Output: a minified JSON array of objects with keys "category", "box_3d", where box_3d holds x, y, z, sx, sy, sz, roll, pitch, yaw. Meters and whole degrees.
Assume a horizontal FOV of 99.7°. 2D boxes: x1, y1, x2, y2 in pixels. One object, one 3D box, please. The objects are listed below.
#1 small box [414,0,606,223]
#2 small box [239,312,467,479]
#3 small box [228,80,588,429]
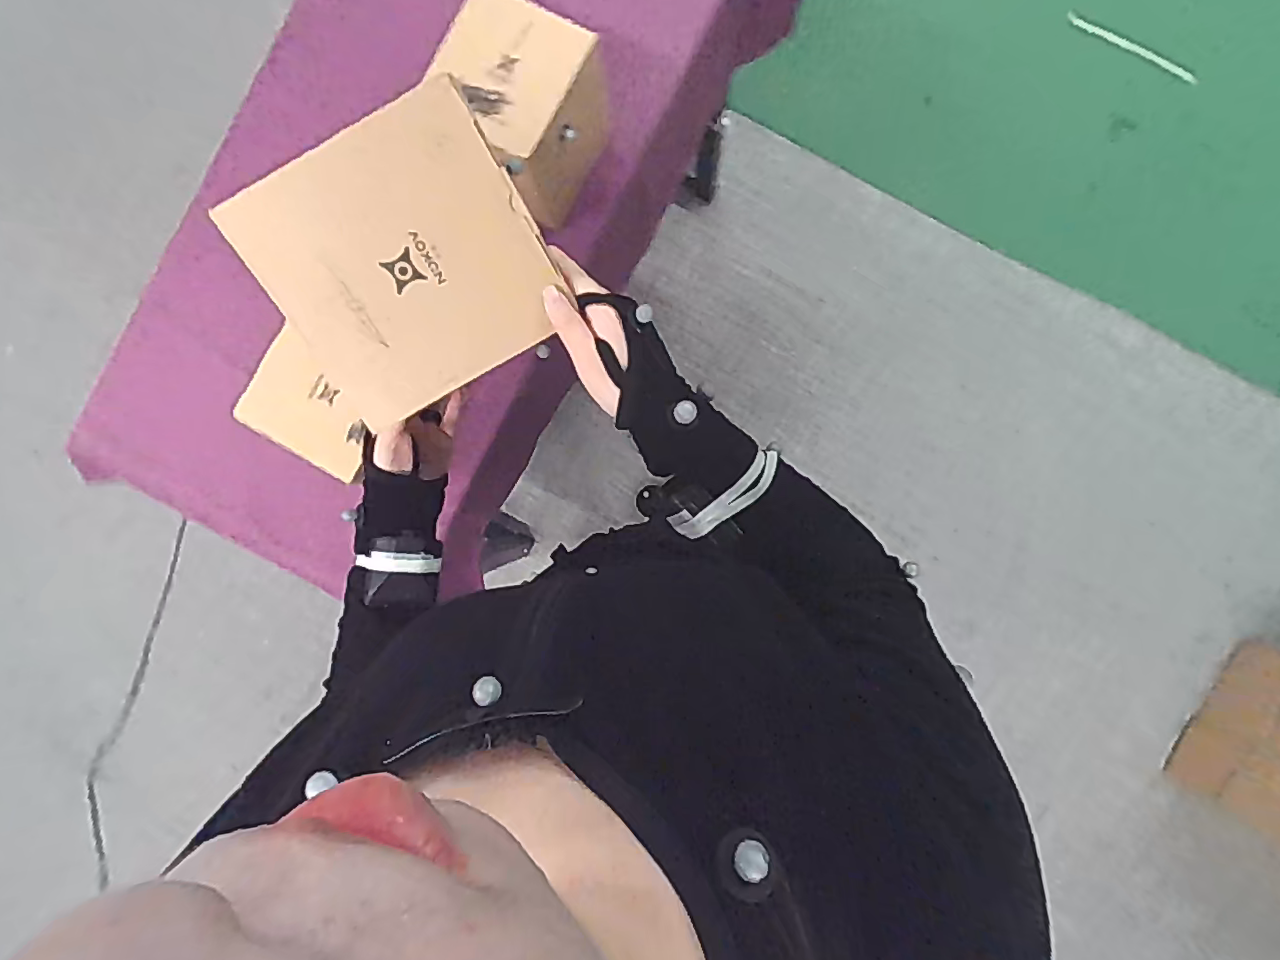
[{"category":"small box","box_3d":[-0.159,-0.488,0.728,0.168,0.176,0.179,29,90,4]},{"category":"small box","box_3d":[-0.372,-0.108,0.732,0.179,0.176,0.168,30,91,5]},{"category":"small box","box_3d":[-0.158,-0.167,0.435,0.179,0.176,0.168,-27,109,3]}]
